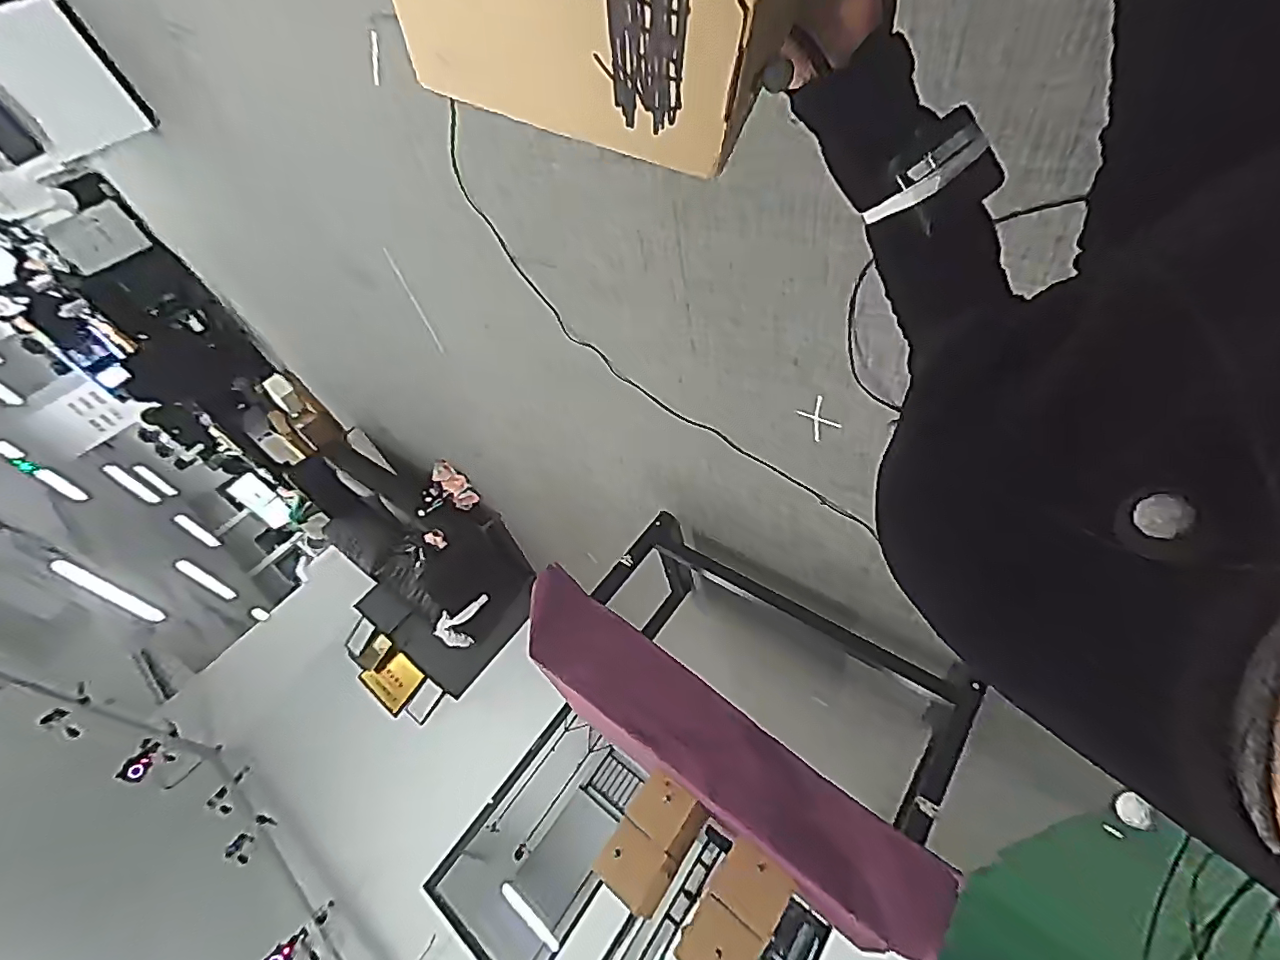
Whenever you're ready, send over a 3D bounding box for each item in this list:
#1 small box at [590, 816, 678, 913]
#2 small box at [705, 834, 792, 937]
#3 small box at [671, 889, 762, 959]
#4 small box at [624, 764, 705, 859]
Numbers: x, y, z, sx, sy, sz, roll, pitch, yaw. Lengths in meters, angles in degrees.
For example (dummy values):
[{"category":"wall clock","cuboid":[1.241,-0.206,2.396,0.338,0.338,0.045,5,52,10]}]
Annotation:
[{"category":"small box","cuboid":[-0.014,1.144,1.625,0.179,0.176,0.168,21,148,36]},{"category":"small box","cuboid":[0.311,1.140,1.534,0.179,0.176,0.168,25,150,34]},{"category":"small box","cuboid":[0.211,1.250,1.465,0.179,0.176,0.168,24,149,33]},{"category":"small box","cuboid":[0.084,1.036,1.698,0.168,0.176,0.179,20,146,38]}]
